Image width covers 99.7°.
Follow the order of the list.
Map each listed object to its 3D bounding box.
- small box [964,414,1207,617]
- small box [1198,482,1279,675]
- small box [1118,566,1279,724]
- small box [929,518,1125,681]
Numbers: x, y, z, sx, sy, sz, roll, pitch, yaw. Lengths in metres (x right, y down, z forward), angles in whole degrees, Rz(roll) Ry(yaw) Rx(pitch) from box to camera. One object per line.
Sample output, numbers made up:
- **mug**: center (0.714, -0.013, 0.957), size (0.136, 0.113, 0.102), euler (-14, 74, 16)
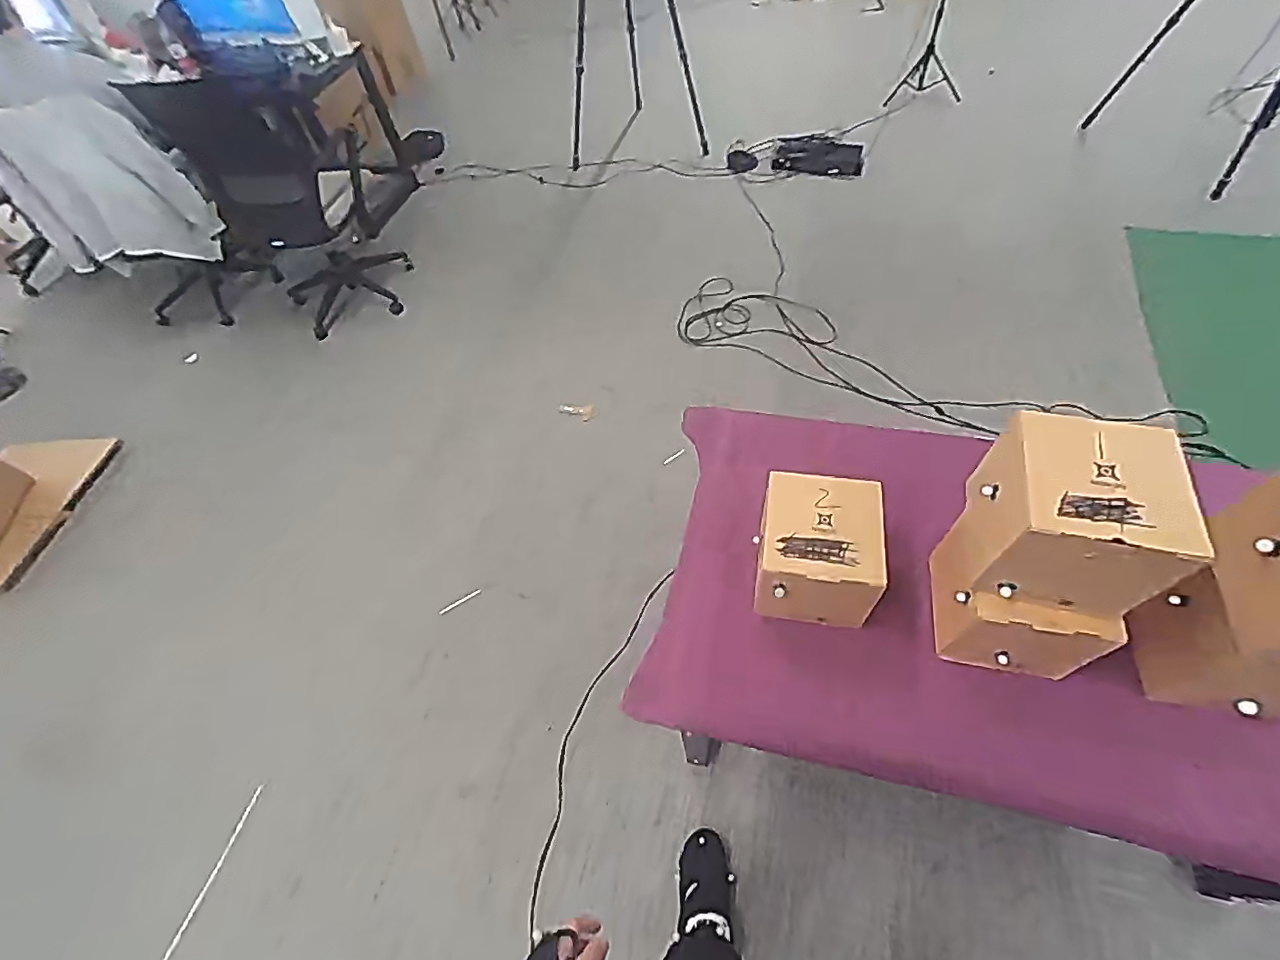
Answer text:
- **small box**: center (0.520, 0.047, 0.666), size (0.168, 0.176, 0.179), euler (11, 56, 14)
- **small box**: center (0.776, 0.108, 0.589), size (0.168, 0.176, 0.179), euler (5, 54, 11)
- **small box**: center (0.791, 0.204, 0.722), size (0.168, 0.176, 0.179), euler (6, 56, 11)
- **small box**: center (0.535, 0.168, 0.781), size (0.168, 0.176, 0.179), euler (7, 57, 12)
